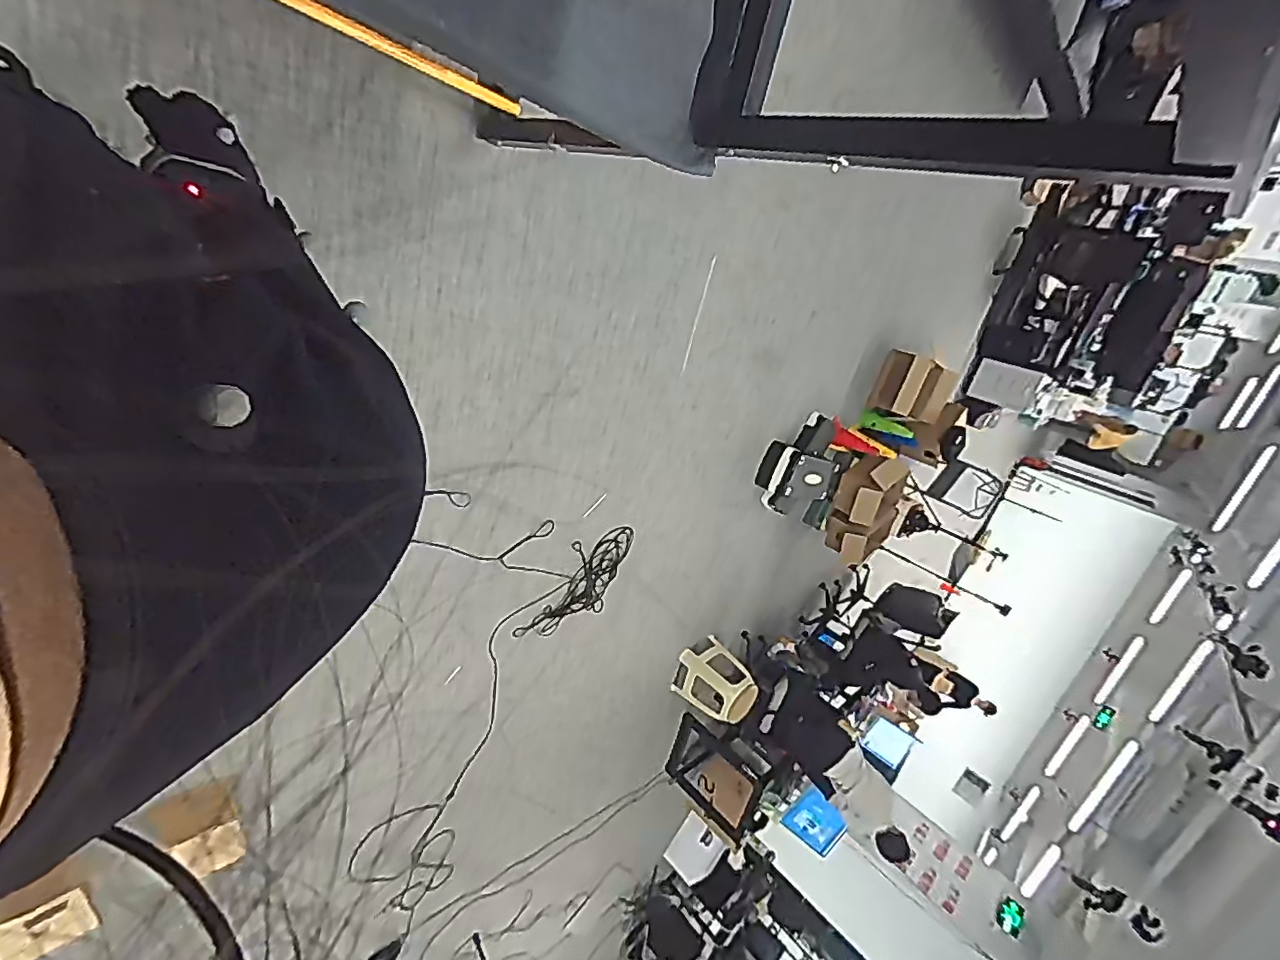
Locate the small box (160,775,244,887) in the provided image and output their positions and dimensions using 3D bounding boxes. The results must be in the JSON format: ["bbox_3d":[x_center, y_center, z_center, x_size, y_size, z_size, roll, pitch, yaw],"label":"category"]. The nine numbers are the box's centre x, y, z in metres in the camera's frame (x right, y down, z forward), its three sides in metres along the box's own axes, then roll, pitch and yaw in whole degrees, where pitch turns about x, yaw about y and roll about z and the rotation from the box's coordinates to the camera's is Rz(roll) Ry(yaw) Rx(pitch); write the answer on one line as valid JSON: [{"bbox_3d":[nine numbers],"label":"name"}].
[{"bbox_3d":[-1.271,1.010,1.570,0.168,0.176,0.179,-10,121,-46],"label":"small box"}]

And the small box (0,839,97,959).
[{"bbox_3d":[-1.490,1.042,1.342,0.168,0.176,0.179,-14,125,-42],"label":"small box"}]
